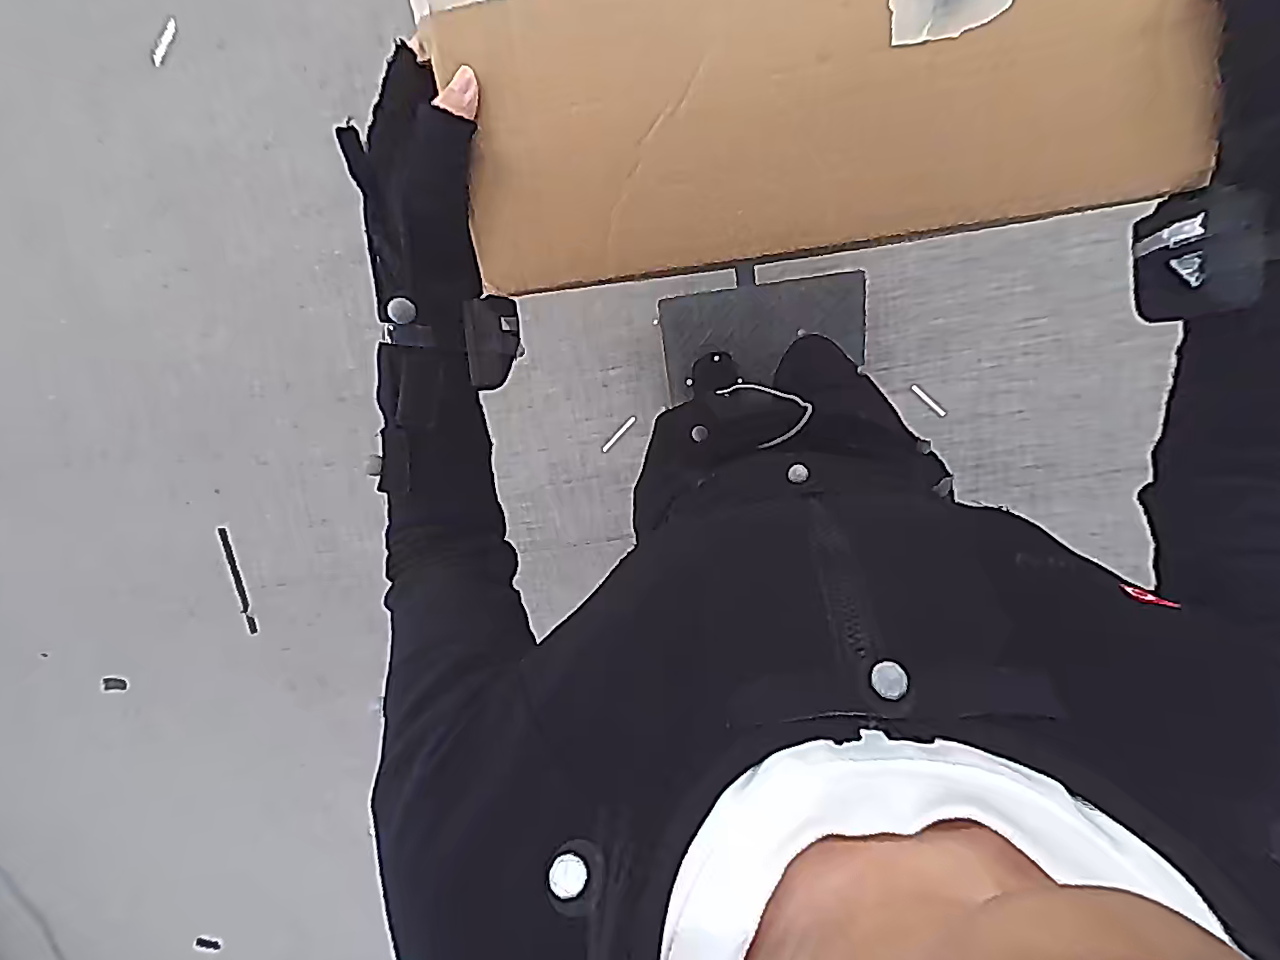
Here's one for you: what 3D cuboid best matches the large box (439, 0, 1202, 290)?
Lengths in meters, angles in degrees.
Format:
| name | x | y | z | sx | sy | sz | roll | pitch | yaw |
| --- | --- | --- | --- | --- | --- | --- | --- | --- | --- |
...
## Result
| name | x | y | z | sx | sy | sz | roll | pitch | yaw |
| --- | --- | --- | --- | --- | --- | --- | --- | --- | --- |
| large box | 0.091 | -0.341 | 0.417 | 0.408 | 0.320 | 0.320 | -6 | 110 | 7 |
